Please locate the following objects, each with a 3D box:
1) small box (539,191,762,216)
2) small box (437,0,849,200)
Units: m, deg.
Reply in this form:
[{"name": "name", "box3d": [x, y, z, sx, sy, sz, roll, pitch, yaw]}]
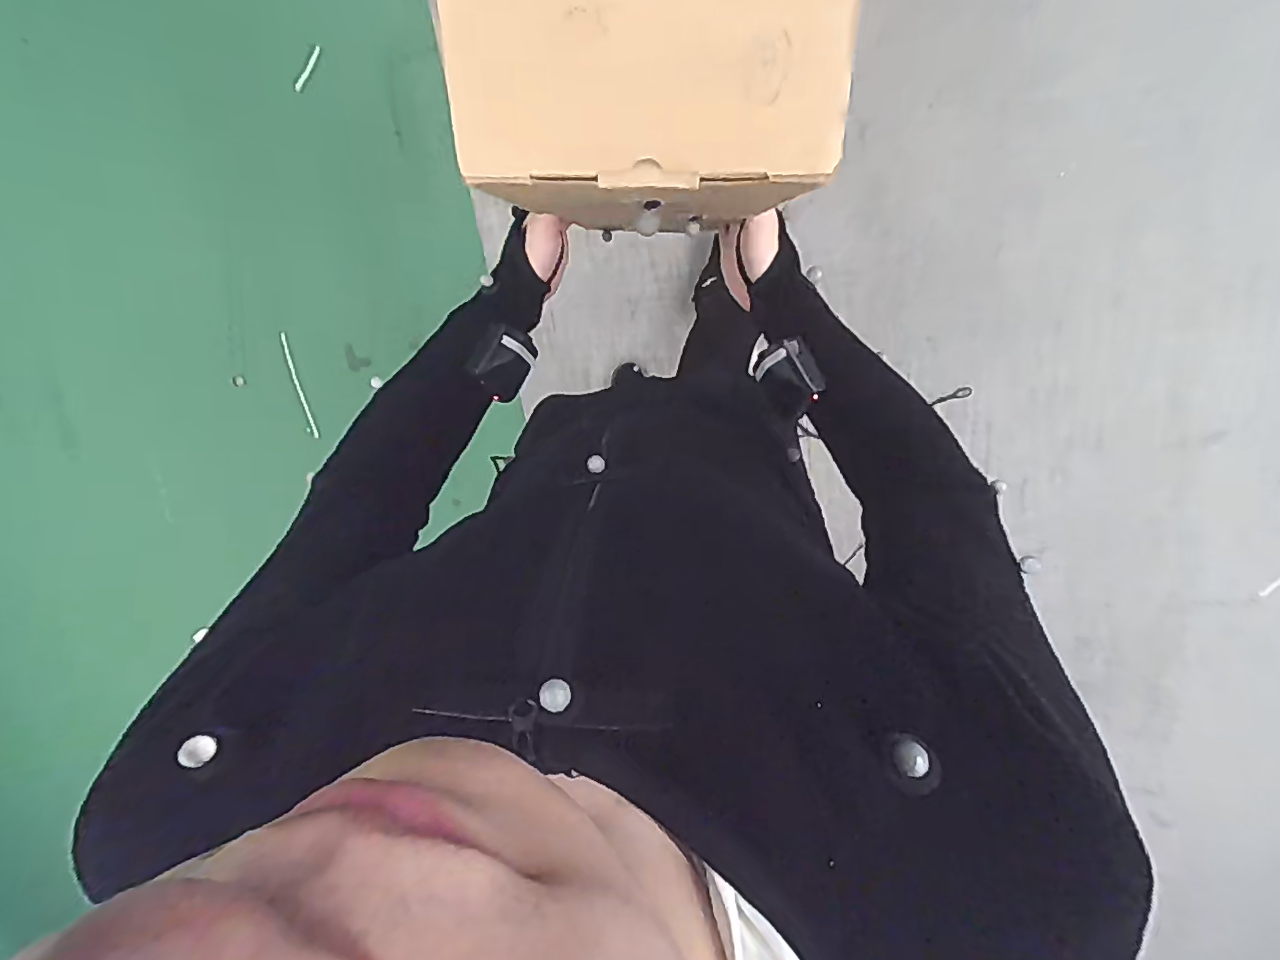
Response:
[{"name": "small box", "box3d": [0.013, -0.311, 0.426, 0.168, 0.176, 0.179, 1, 111, 1]}, {"name": "small box", "box3d": [0.004, -0.246, 0.276, 0.168, 0.176, 0.179, 1, 113, 1]}]
